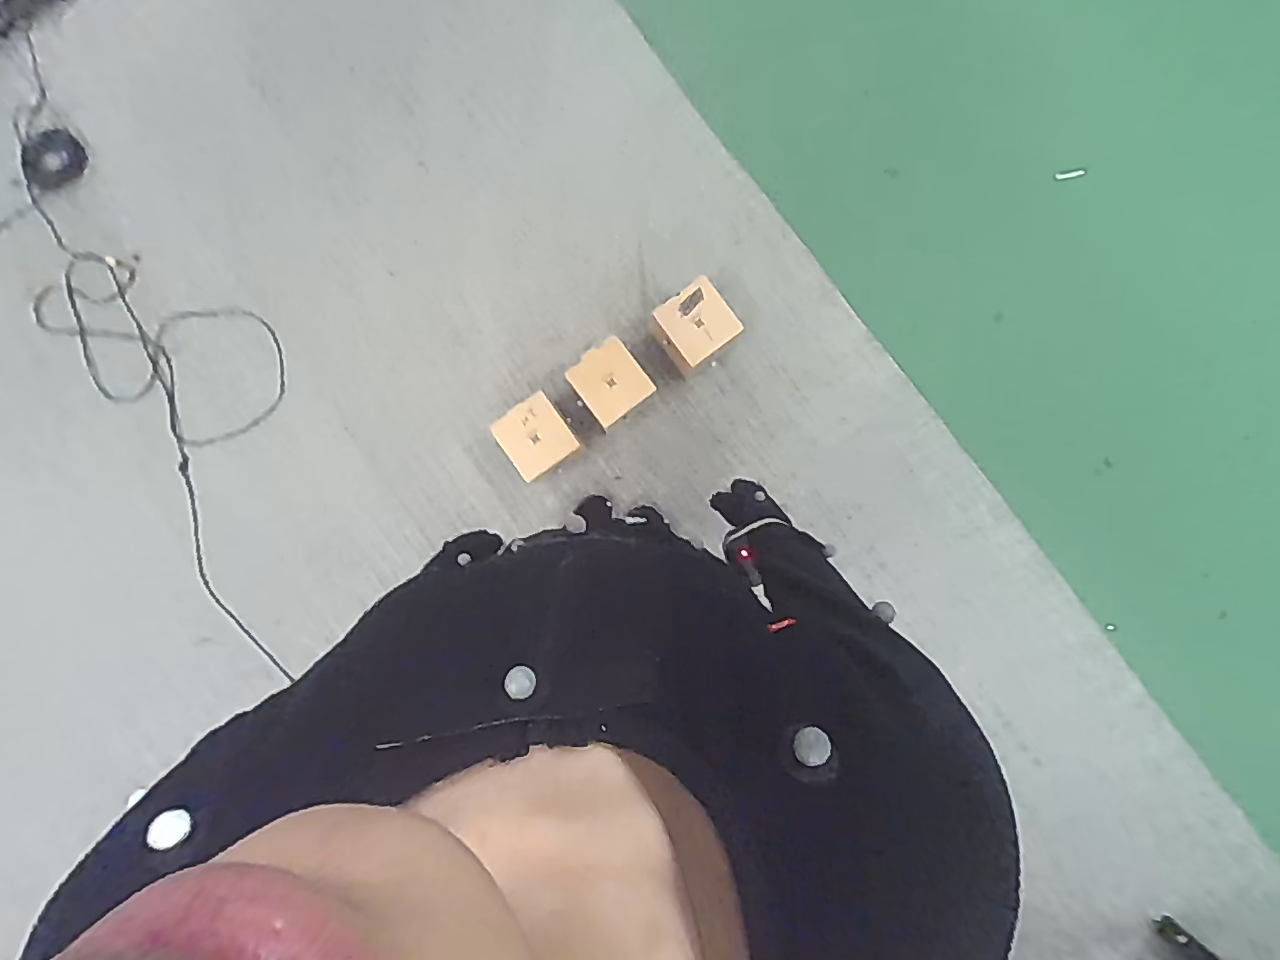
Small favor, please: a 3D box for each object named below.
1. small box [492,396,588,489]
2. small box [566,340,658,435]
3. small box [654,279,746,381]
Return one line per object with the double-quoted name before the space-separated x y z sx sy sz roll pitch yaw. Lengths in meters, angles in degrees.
"small box" -0.253 -0.094 1.417 0.168 0.176 0.179 -36 88 0
"small box" -0.066 -0.231 1.419 0.168 0.176 0.179 -38 87 0
"small box" 0.149 -0.383 1.418 0.168 0.176 0.179 -37 89 0
